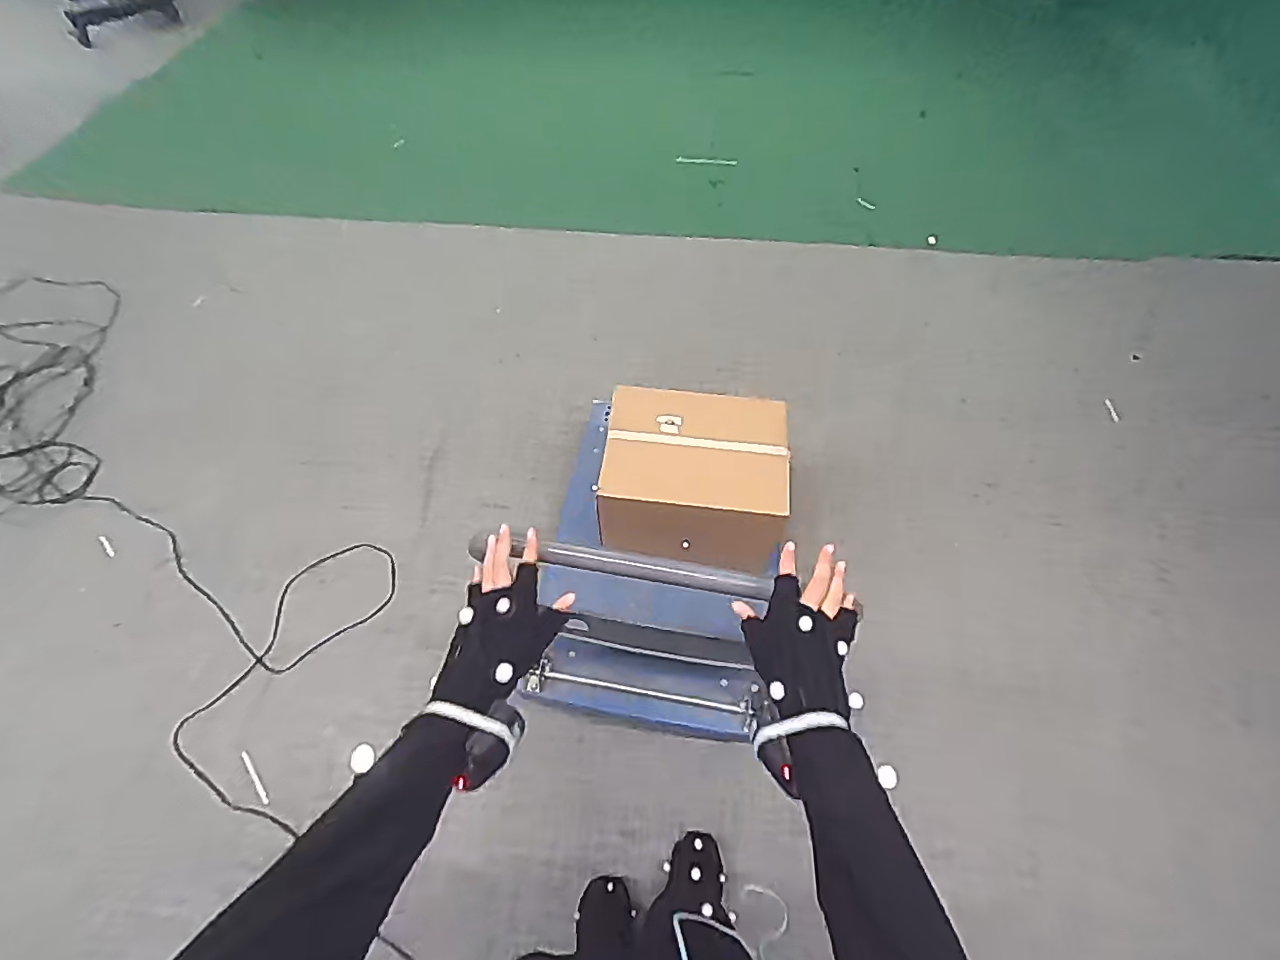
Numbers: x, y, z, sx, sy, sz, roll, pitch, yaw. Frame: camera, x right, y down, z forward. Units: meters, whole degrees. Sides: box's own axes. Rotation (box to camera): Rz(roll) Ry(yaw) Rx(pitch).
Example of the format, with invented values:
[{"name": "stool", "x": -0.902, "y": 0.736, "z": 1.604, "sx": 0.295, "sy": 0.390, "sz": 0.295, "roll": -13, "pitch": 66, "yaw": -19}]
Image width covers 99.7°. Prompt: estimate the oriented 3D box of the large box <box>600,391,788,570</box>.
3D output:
[{"name": "large box", "x": 0.128, "y": 0.009, "z": 1.338, "sx": 0.408, "sy": 0.320, "sz": 0.320, "roll": 6, "pitch": 57, "yaw": 3}]
